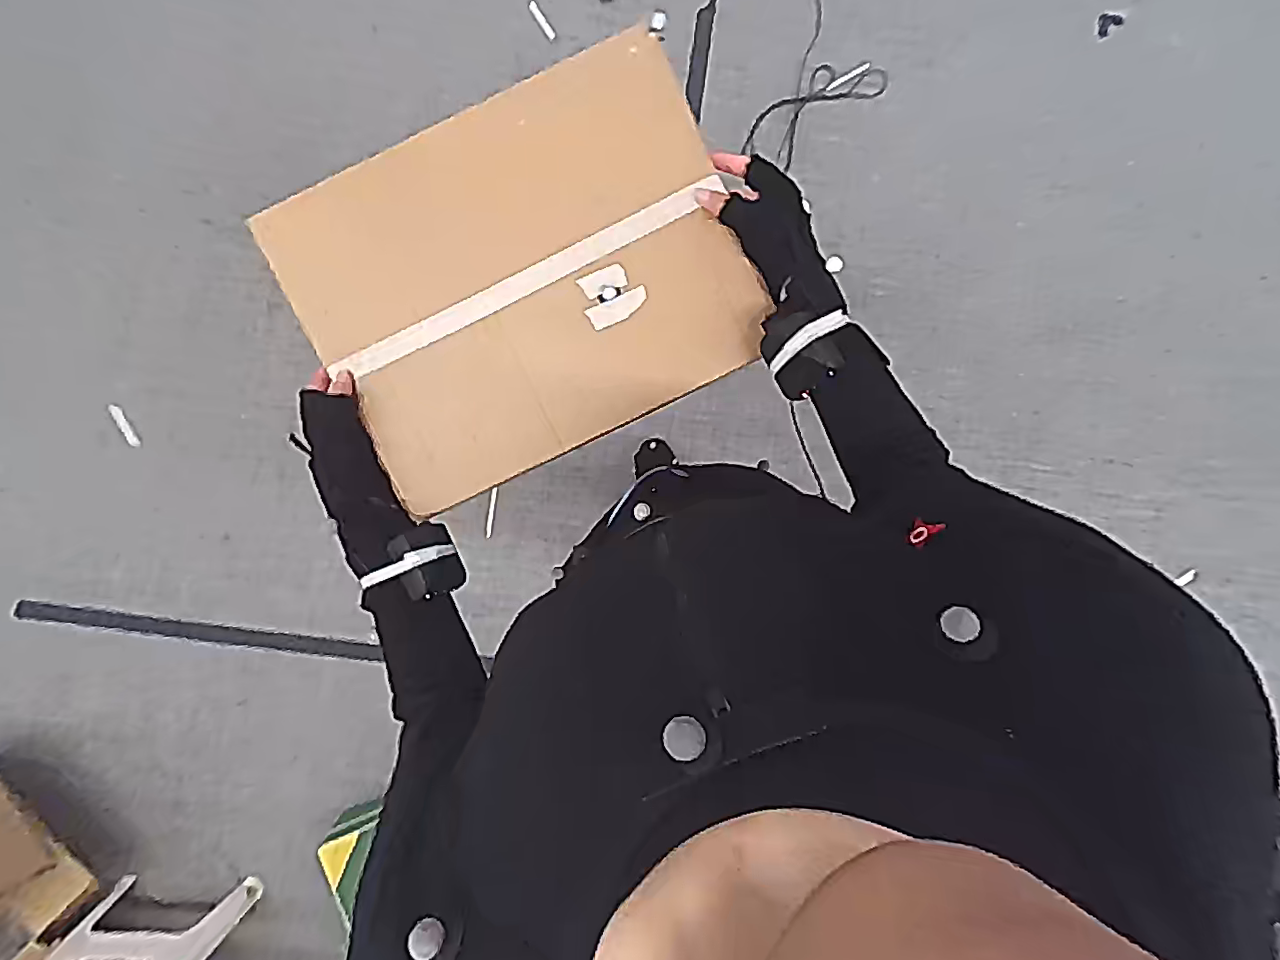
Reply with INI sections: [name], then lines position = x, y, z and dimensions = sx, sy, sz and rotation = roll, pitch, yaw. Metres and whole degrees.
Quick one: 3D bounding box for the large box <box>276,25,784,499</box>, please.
[large box]
position = -0.105, -0.213, 0.660
dimensions = 0.408, 0.320, 0.320
rotation = -24, 98, 0
